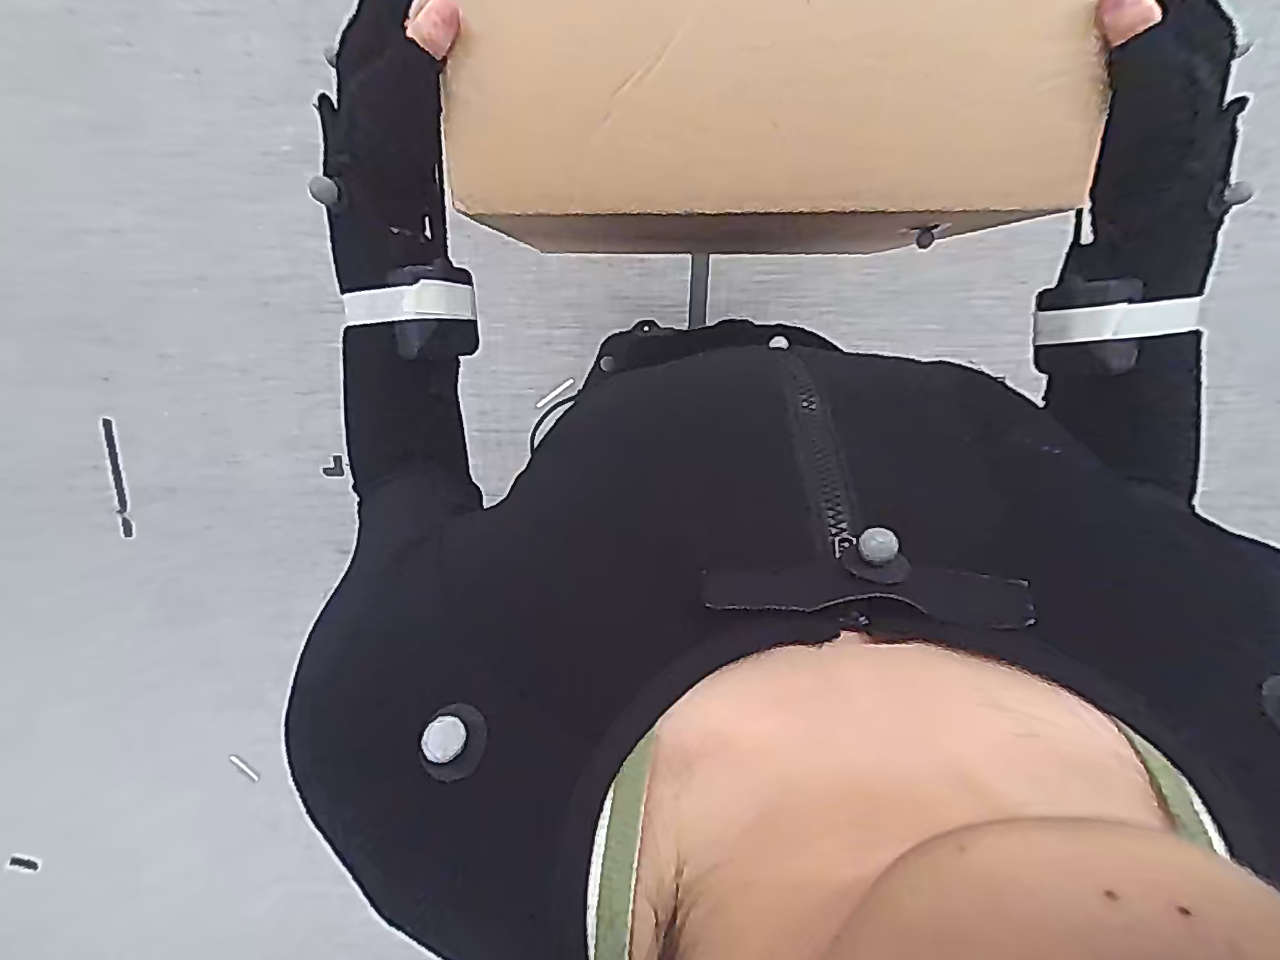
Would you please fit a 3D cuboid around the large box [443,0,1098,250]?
[{"bbox_3d":[0.080,-0.372,0.455,0.408,0.320,0.320,0,108,1],"label":"large box"}]

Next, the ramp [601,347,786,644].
[{"bbox_3d":[0.139,0.102,1.631,0.509,0.206,0.991,0,106,2],"label":"ramp"}]
